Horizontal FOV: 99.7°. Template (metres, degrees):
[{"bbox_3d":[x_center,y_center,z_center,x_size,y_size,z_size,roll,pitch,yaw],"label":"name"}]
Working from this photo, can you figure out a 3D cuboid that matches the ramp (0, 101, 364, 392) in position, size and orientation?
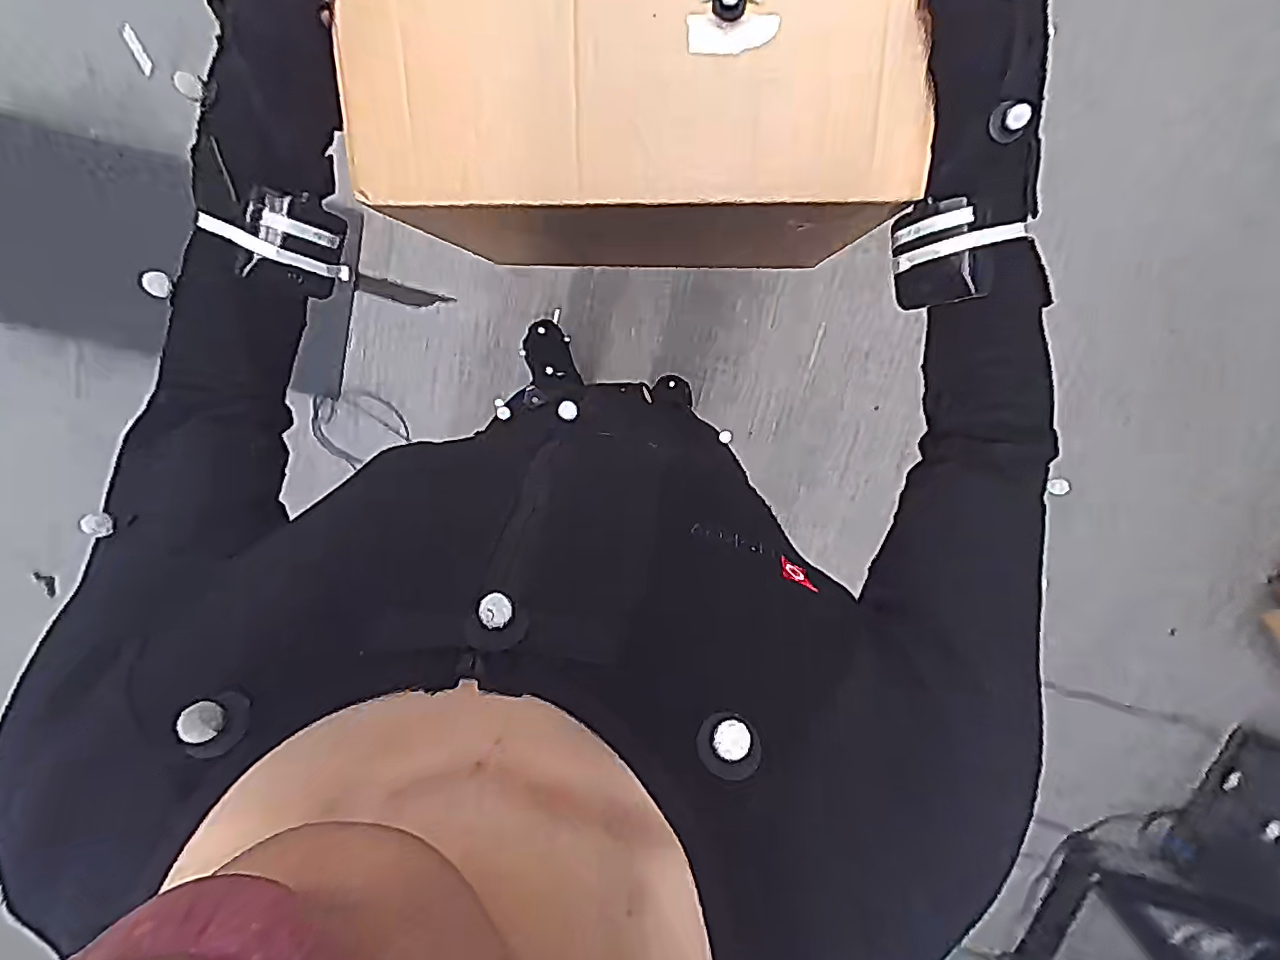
[{"bbox_3d":[-1.241,-0.578,1.348,0.991,0.206,0.509,14,101,0],"label":"ramp"}]

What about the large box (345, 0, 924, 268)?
[{"bbox_3d":[-0.001,-0.391,0.506,0.408,0.320,0.320,0,104,4],"label":"large box"}]
